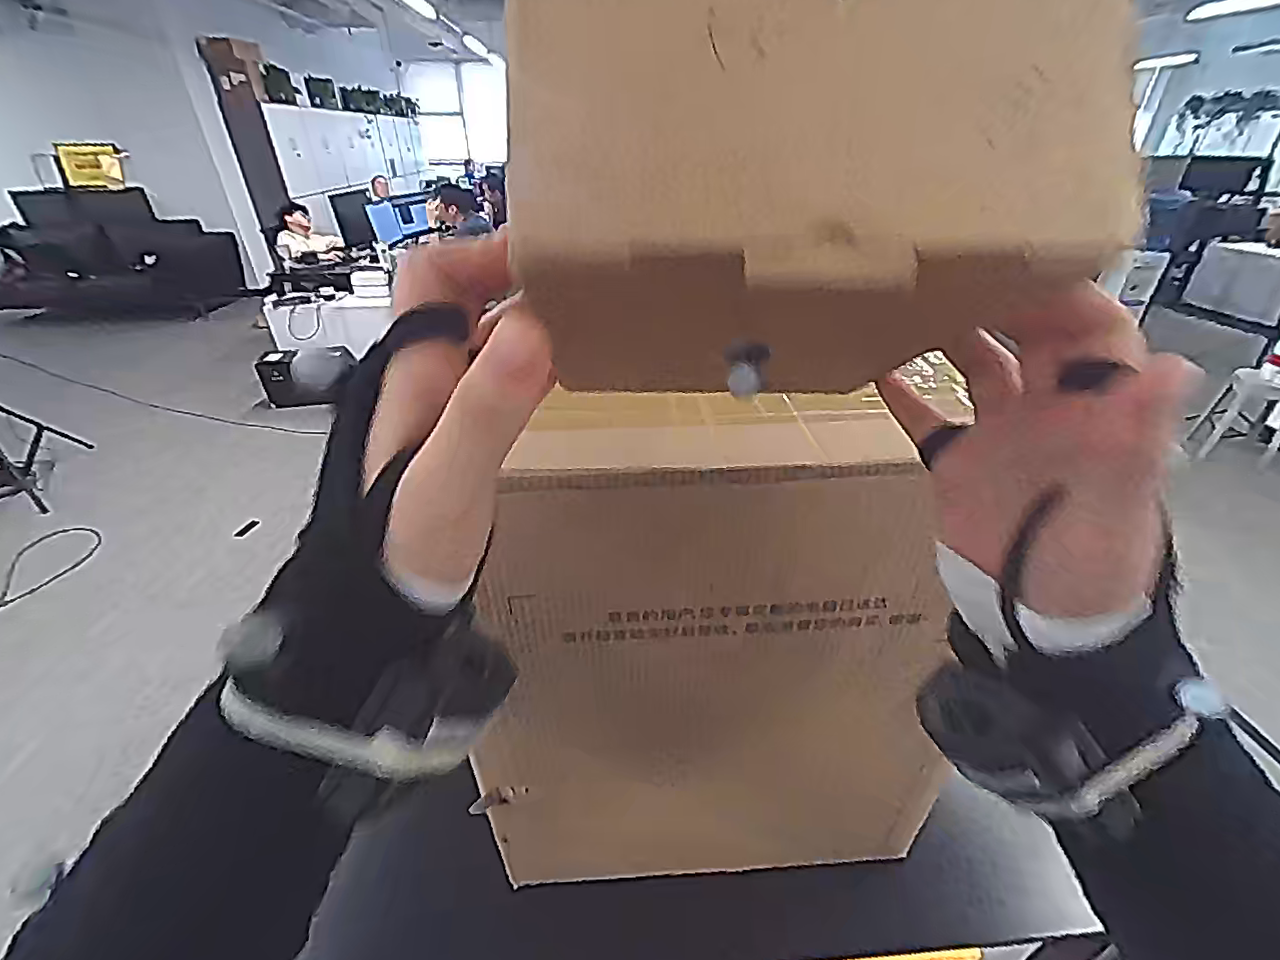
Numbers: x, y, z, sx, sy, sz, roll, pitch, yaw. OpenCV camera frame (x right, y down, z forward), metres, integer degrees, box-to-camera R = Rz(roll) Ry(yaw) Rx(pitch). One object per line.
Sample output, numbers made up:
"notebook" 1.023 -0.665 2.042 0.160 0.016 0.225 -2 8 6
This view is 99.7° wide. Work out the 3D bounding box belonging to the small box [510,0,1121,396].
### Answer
"small box" 0.044 -0.131 0.225 0.168 0.179 0.176 0 0 -3
